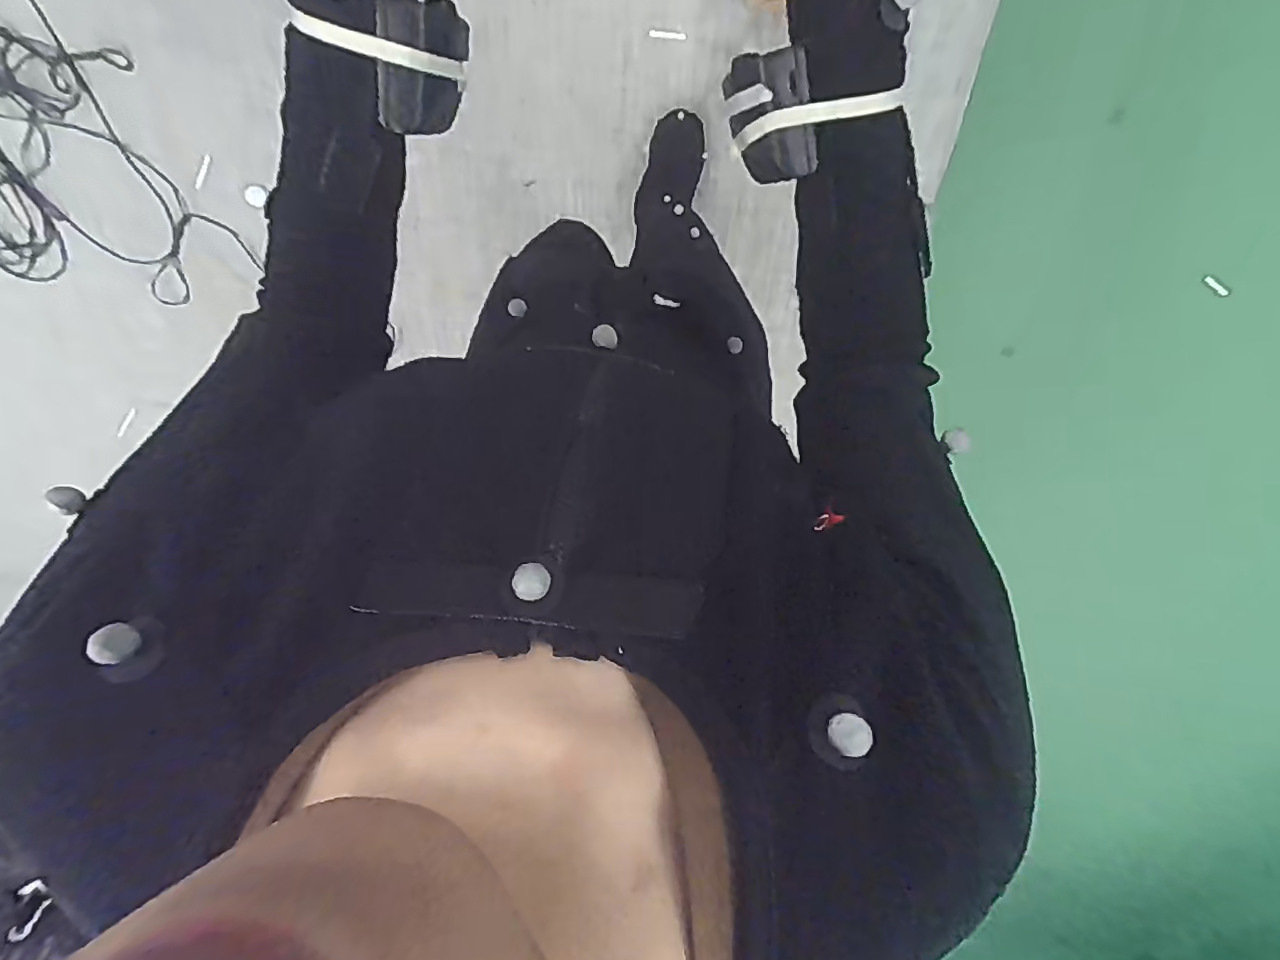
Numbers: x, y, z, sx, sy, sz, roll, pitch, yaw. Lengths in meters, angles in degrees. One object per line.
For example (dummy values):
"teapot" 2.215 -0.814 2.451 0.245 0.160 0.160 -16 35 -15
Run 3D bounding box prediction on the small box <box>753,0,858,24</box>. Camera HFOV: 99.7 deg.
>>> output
"small box" 0.293 -0.909 0.924 0.168 0.176 0.179 6 126 1
